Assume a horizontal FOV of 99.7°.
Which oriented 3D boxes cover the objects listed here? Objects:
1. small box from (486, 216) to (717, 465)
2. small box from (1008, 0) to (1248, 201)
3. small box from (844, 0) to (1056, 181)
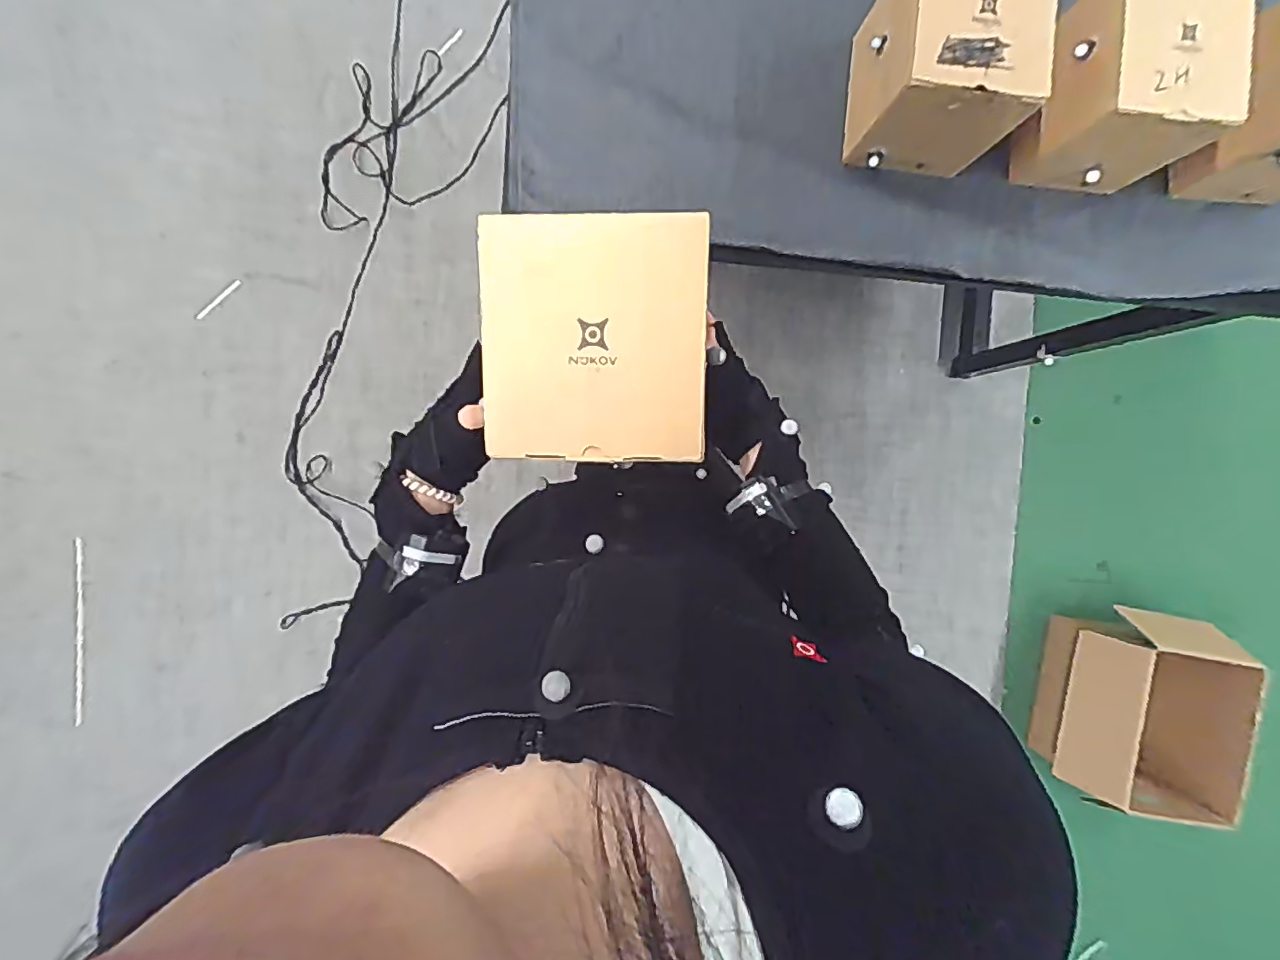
[{"bbox_3d":[-0.026,-0.111,0.469,0.168,0.176,0.179,1,100,3],"label":"small box"},{"bbox_3d":[0.618,-0.499,0.705,0.168,0.176,0.179,3,91,-5],"label":"small box"},{"bbox_3d":[0.377,-0.511,0.684,0.168,0.176,0.179,5,90,-6],"label":"small box"}]
